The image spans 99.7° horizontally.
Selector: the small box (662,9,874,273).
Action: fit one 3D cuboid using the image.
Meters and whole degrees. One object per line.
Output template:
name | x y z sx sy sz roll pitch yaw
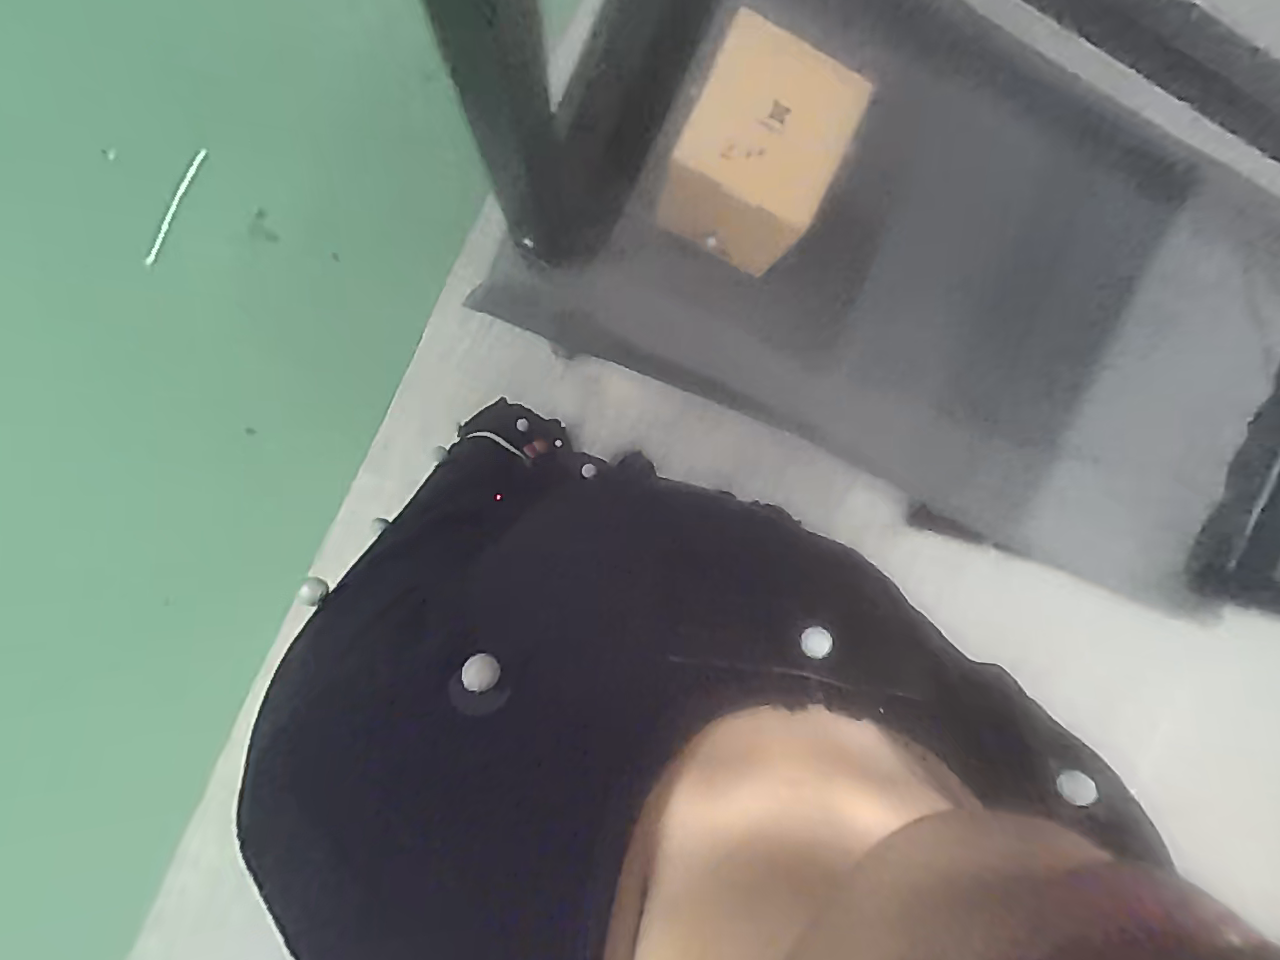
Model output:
small box | 0.137 -0.386 0.654 0.168 0.176 0.179 25 91 -6
